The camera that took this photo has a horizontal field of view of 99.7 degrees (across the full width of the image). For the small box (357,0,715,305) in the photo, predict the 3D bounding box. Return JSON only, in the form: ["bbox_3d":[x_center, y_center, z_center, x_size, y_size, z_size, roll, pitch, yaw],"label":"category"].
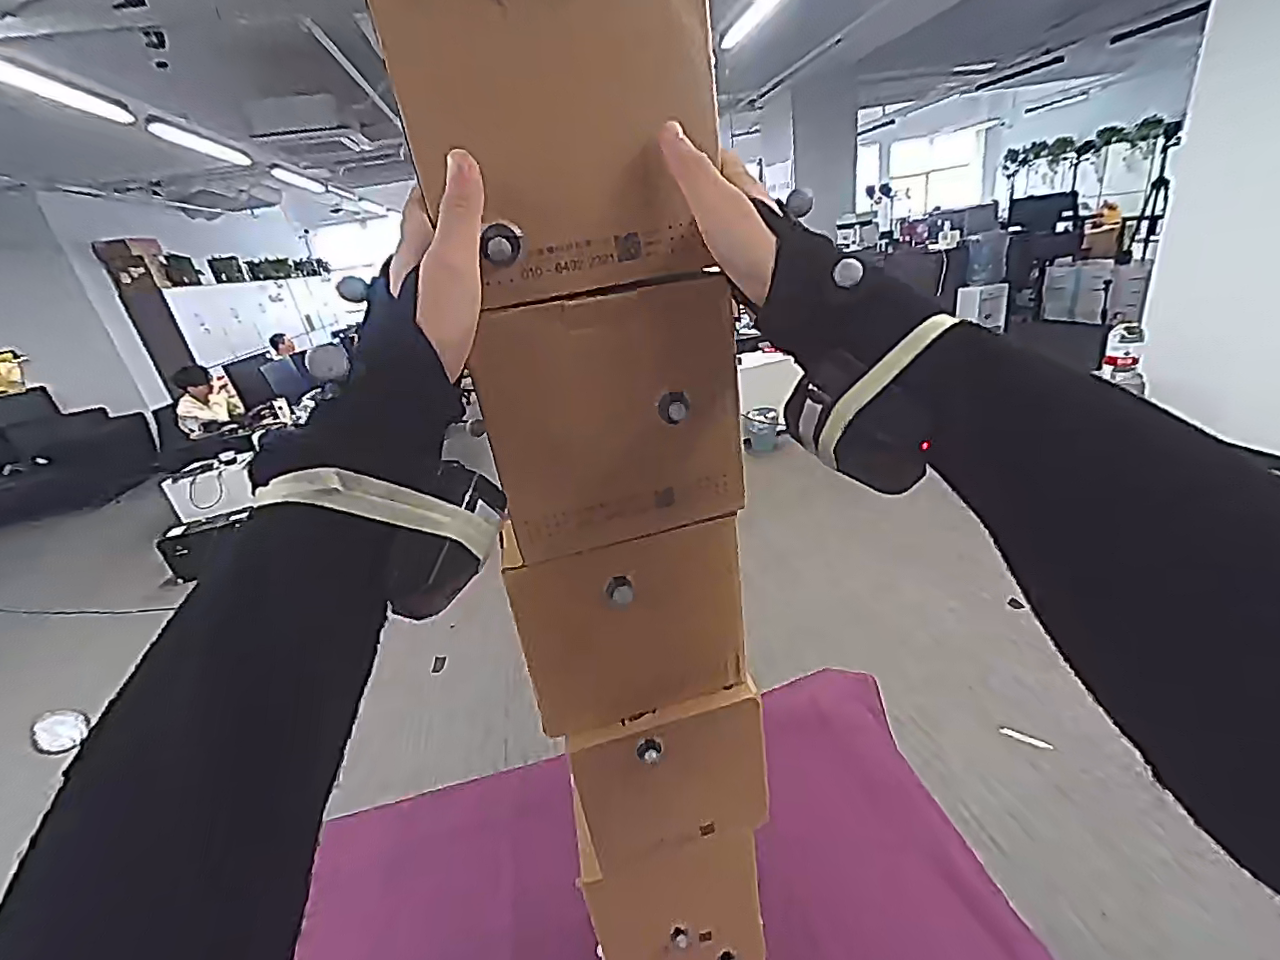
[{"bbox_3d":[-0.058,-0.217,0.358,0.168,0.176,0.179,-13,24,-8],"label":"small box"}]

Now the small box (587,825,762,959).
[{"bbox_3d":[0.042,0.533,0.674,0.179,0.176,0.168,-13,23,-8],"label":"small box"}]

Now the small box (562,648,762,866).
[{"bbox_3d":[0.012,0.233,0.545,0.168,0.176,0.179,-13,24,-8],"label":"small box"}]

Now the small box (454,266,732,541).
[{"bbox_3d":[-0.036,-0.066,0.424,0.168,0.176,0.179,-13,24,-11],"label":"small box"}]

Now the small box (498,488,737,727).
[{"bbox_3d":[-0.021,0.083,0.487,0.179,0.176,0.168,-13,25,-9],"label":"small box"}]
